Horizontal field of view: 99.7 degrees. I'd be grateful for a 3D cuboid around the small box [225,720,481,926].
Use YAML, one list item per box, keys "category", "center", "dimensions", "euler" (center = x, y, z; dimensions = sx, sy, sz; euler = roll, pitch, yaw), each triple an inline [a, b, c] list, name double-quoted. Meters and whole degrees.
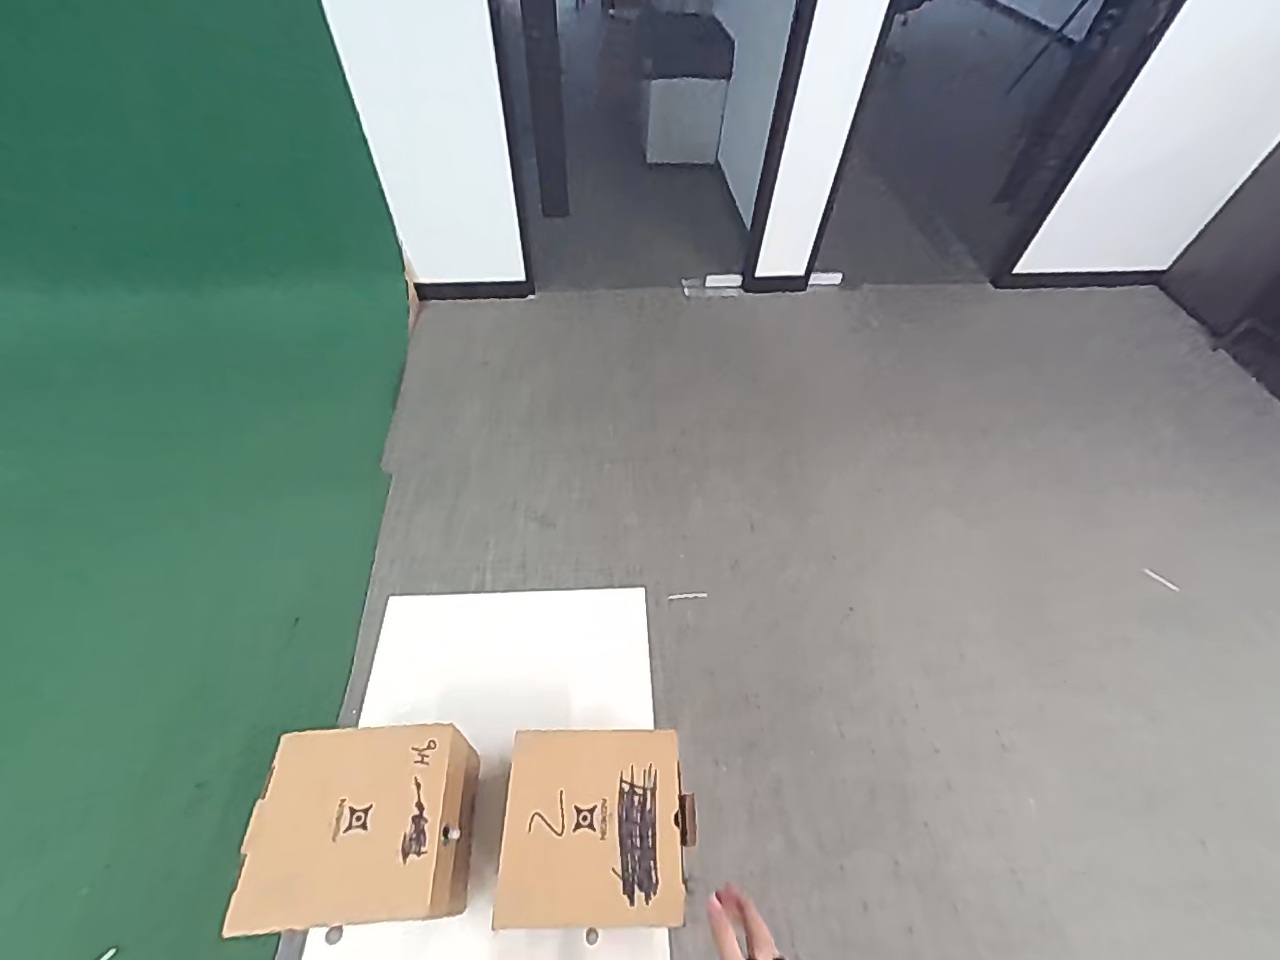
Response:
- category: "small box"
  center: [-0.283, 0.372, 0.584]
  dimensions: [0.179, 0.176, 0.168]
  euler: [-1, 52, -5]
